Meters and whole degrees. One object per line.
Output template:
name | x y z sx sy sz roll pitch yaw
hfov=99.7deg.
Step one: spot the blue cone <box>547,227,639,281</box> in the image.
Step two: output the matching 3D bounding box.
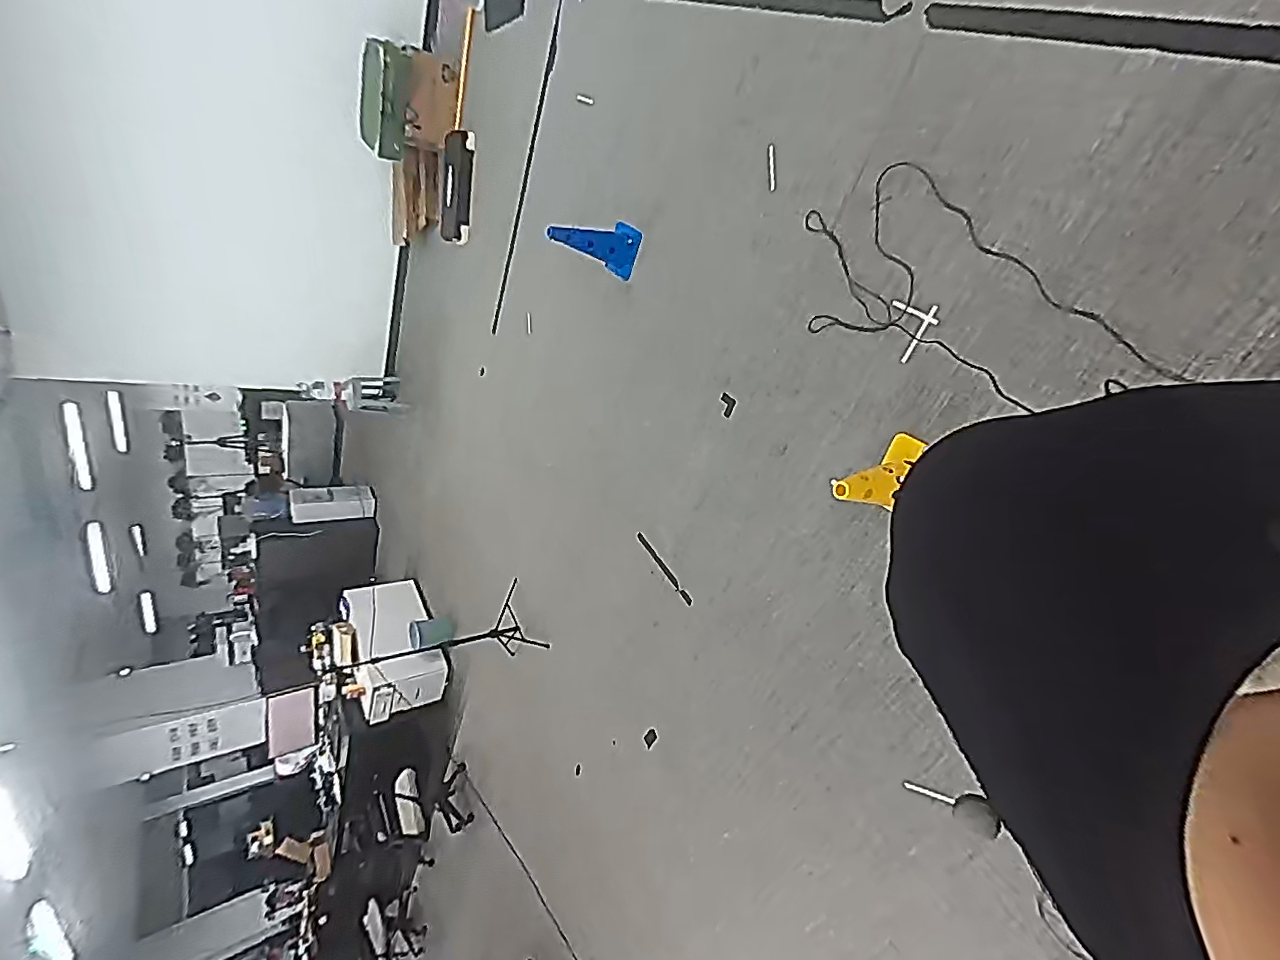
blue cone | -0.201 -0.956 2.201 0.193 0.380 0.192 49 130 38
